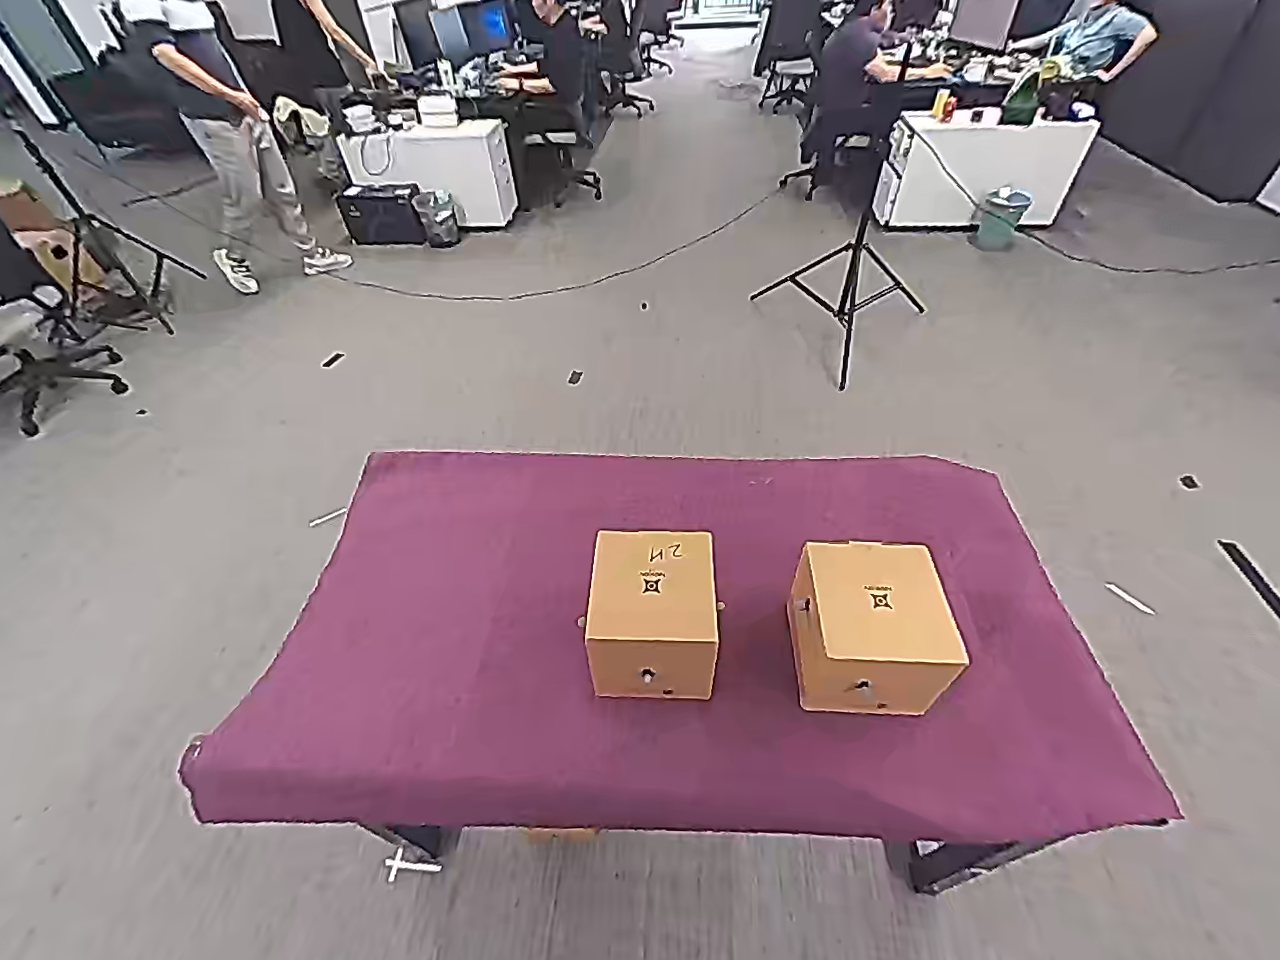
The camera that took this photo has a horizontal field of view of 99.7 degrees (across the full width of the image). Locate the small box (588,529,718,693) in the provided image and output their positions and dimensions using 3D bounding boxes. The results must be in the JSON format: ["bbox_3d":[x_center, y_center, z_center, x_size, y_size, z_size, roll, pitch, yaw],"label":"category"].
[{"bbox_3d":[0.023,0.191,0.782,0.168,0.176,0.179,1,44,3],"label":"small box"}]

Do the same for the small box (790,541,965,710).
[{"bbox_3d":[0.313,0.204,0.755,0.168,0.176,0.179,1,46,4],"label":"small box"}]
